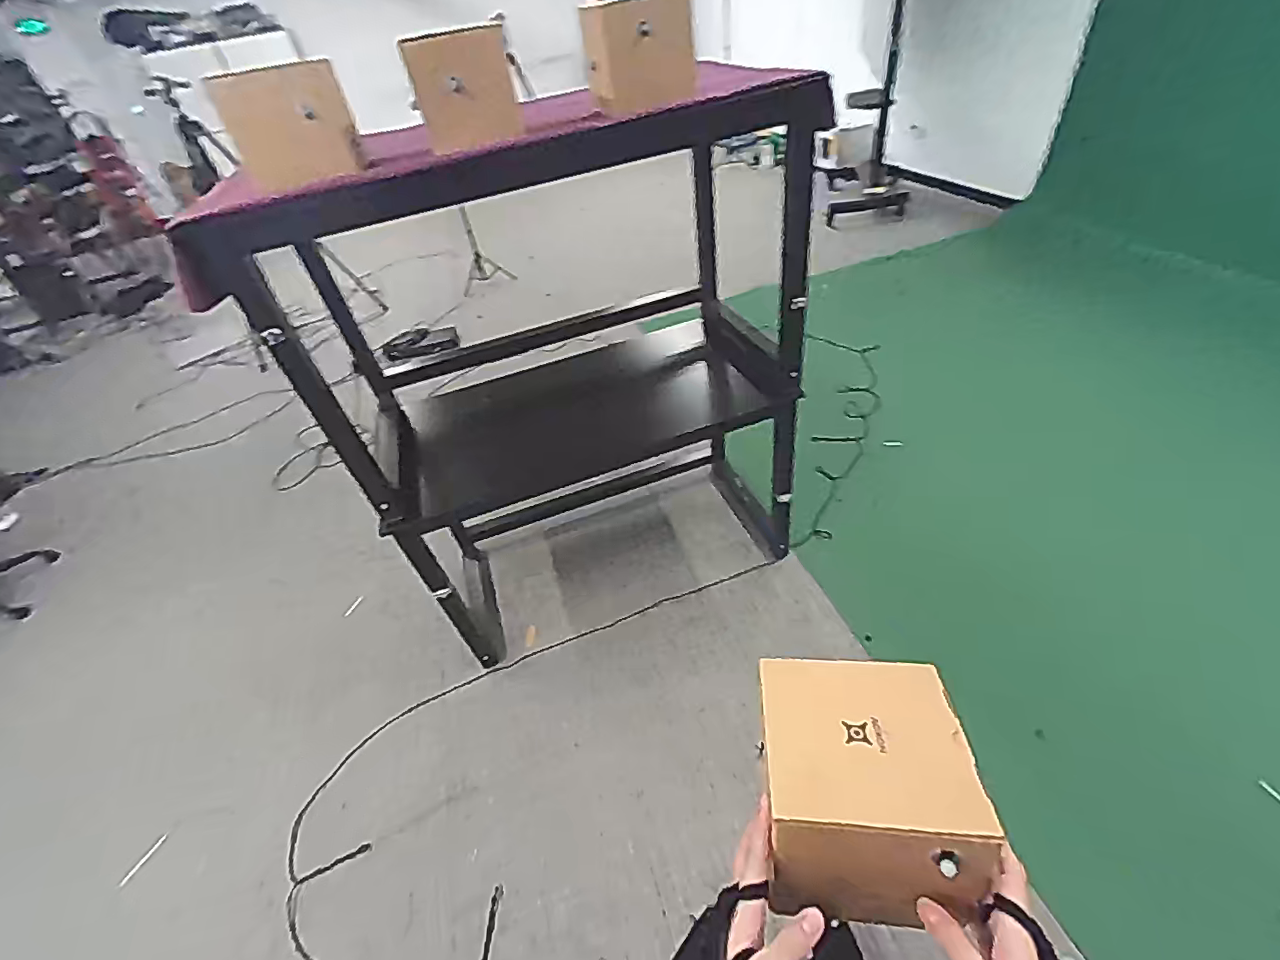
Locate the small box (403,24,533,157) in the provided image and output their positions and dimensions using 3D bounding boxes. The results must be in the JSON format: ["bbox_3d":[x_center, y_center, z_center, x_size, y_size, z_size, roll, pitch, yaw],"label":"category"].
[{"bbox_3d":[-0.314,-0.721,1.008,0.179,0.176,0.168,-17,41,-5],"label":"small box"}]

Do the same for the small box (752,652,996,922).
[{"bbox_3d":[0.201,0.290,0.523,0.179,0.176,0.168,0,31,9],"label":"small box"}]

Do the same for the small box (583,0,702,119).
[{"bbox_3d":[0.006,-0.818,1.043,0.179,0.176,0.168,-19,43,-8],"label":"small box"}]
